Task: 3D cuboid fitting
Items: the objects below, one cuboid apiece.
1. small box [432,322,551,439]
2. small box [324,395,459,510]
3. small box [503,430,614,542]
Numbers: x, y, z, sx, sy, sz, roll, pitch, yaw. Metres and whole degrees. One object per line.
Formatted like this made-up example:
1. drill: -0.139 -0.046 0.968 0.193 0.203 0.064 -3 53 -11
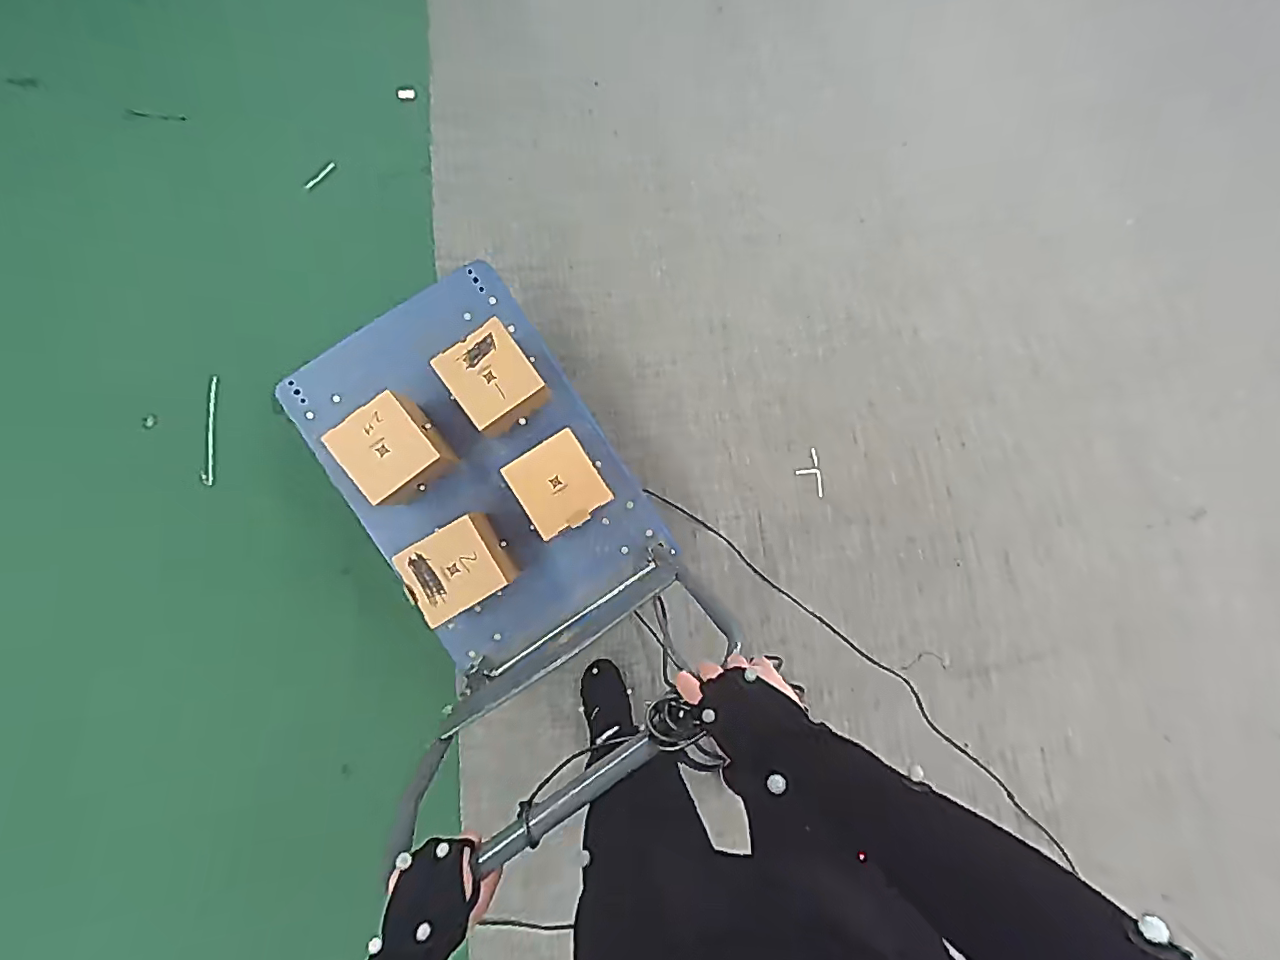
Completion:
1. small box: -0.312 -0.206 1.177 0.168 0.176 0.179 -36 90 -3
2. small box: -0.519 -0.053 1.159 0.168 0.176 0.179 -38 90 -5
3. small box: -0.172 0.016 1.175 0.168 0.176 0.179 -33 90 -4
